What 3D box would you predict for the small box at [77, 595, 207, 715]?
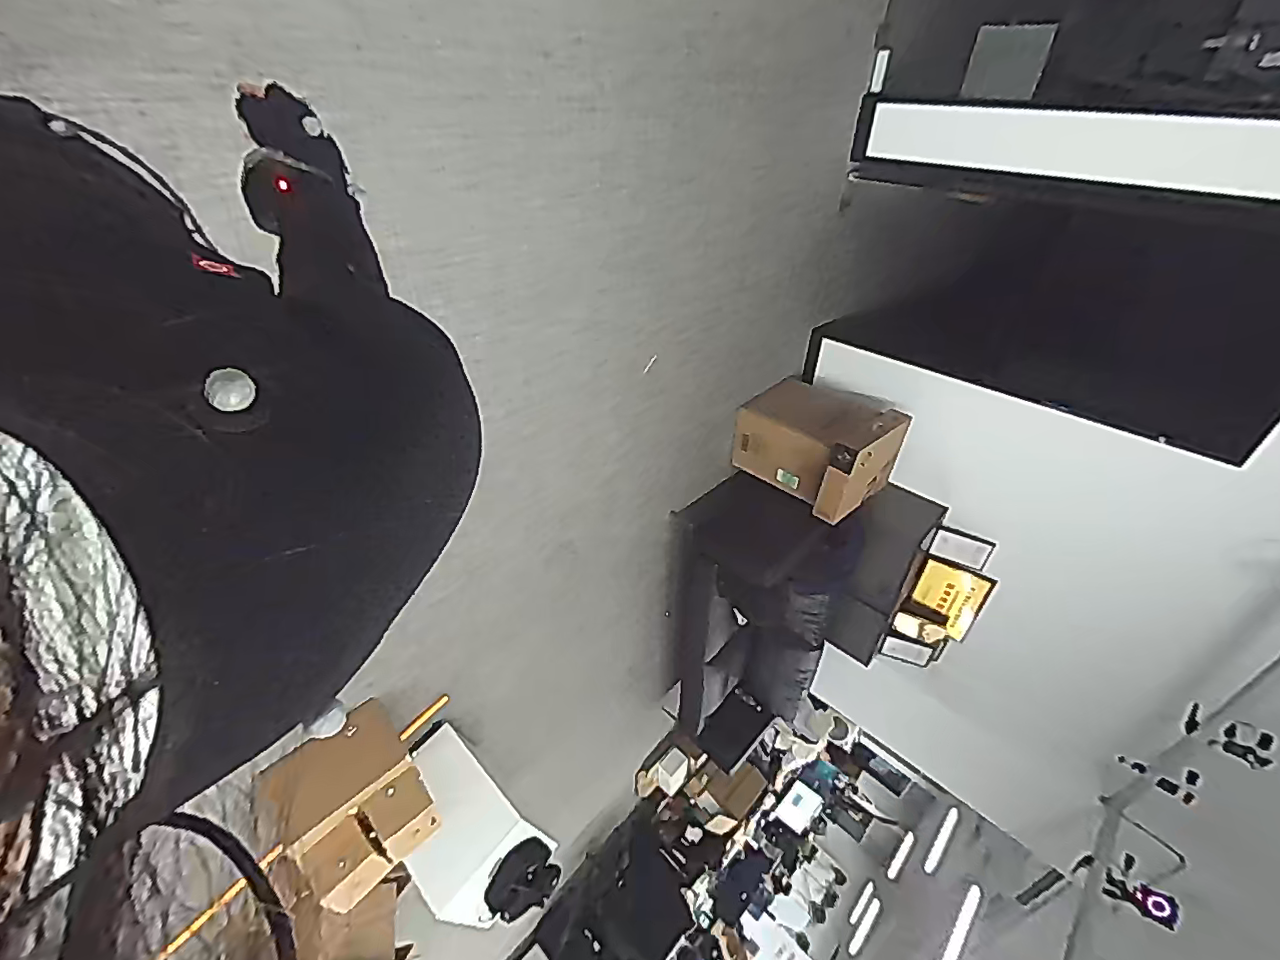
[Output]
[{"bbox_3d":[-1.202,0.416,1.305,0.179,0.176,0.168,-33,138,-35],"label":"small box"}]
